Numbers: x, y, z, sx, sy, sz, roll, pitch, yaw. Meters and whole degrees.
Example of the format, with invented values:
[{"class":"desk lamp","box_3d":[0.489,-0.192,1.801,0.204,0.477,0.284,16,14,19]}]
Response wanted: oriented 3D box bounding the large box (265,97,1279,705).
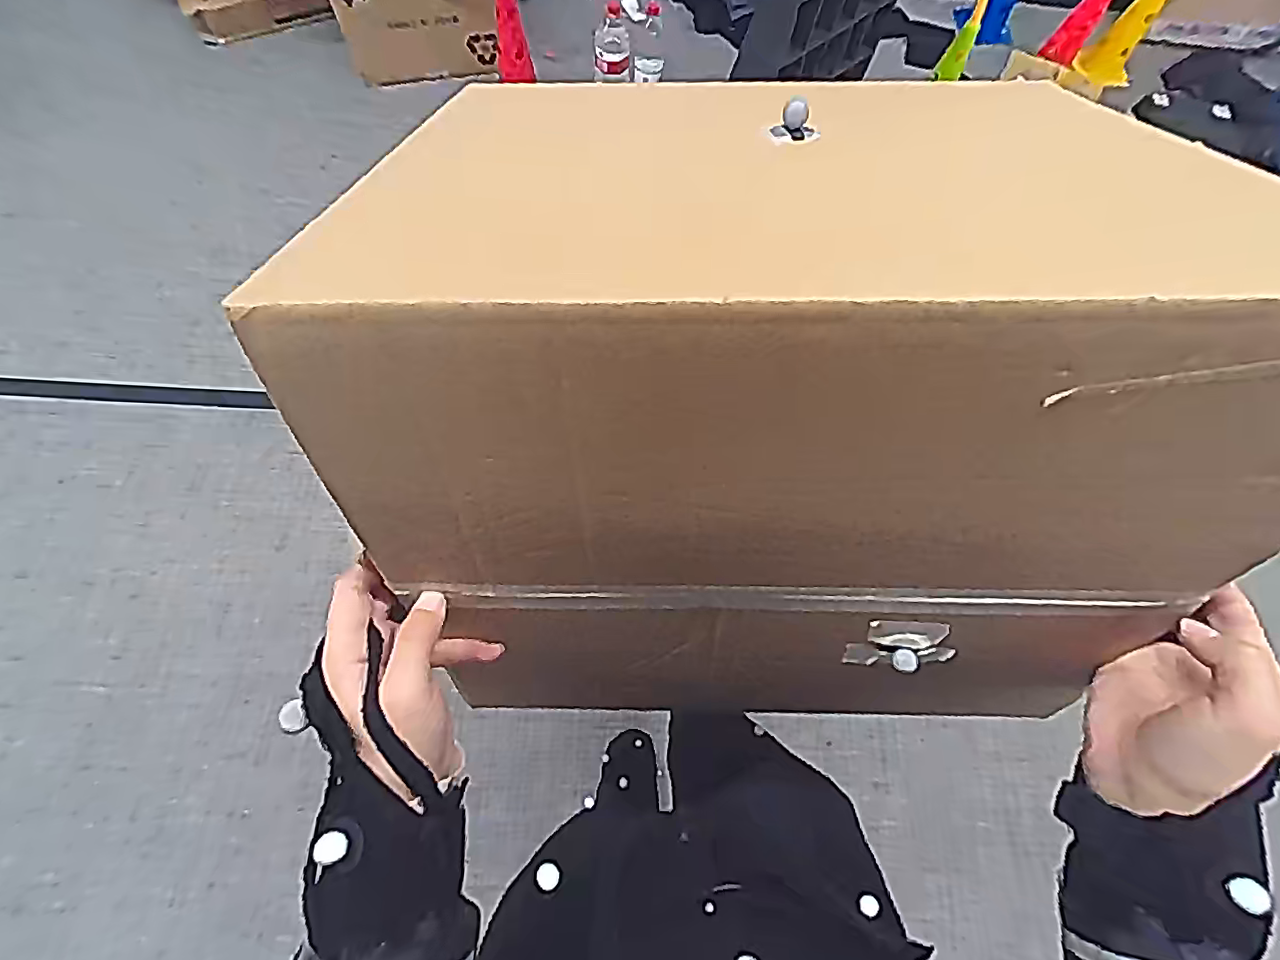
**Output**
[{"class":"large box","box_3d":[0.072,-0.053,0.385,0.408,0.320,0.320,-1,47,1]}]
